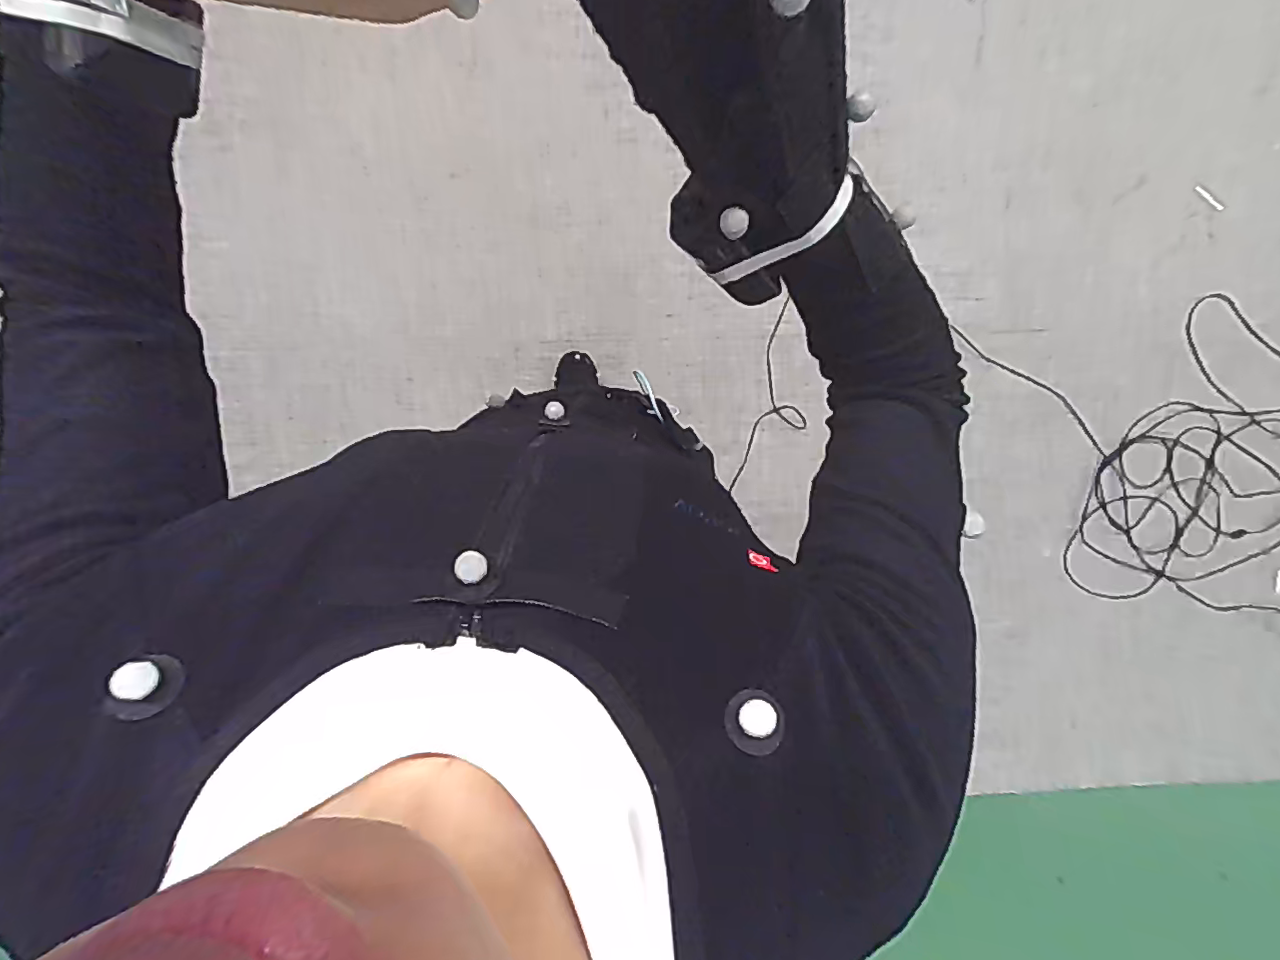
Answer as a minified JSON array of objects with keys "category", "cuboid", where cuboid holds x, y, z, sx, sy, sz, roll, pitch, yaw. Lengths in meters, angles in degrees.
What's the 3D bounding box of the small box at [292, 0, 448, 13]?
[{"category":"small box","cuboid":[-0.113,-0.287,0.179,0.179,0.176,0.168,10,125,28]}]
